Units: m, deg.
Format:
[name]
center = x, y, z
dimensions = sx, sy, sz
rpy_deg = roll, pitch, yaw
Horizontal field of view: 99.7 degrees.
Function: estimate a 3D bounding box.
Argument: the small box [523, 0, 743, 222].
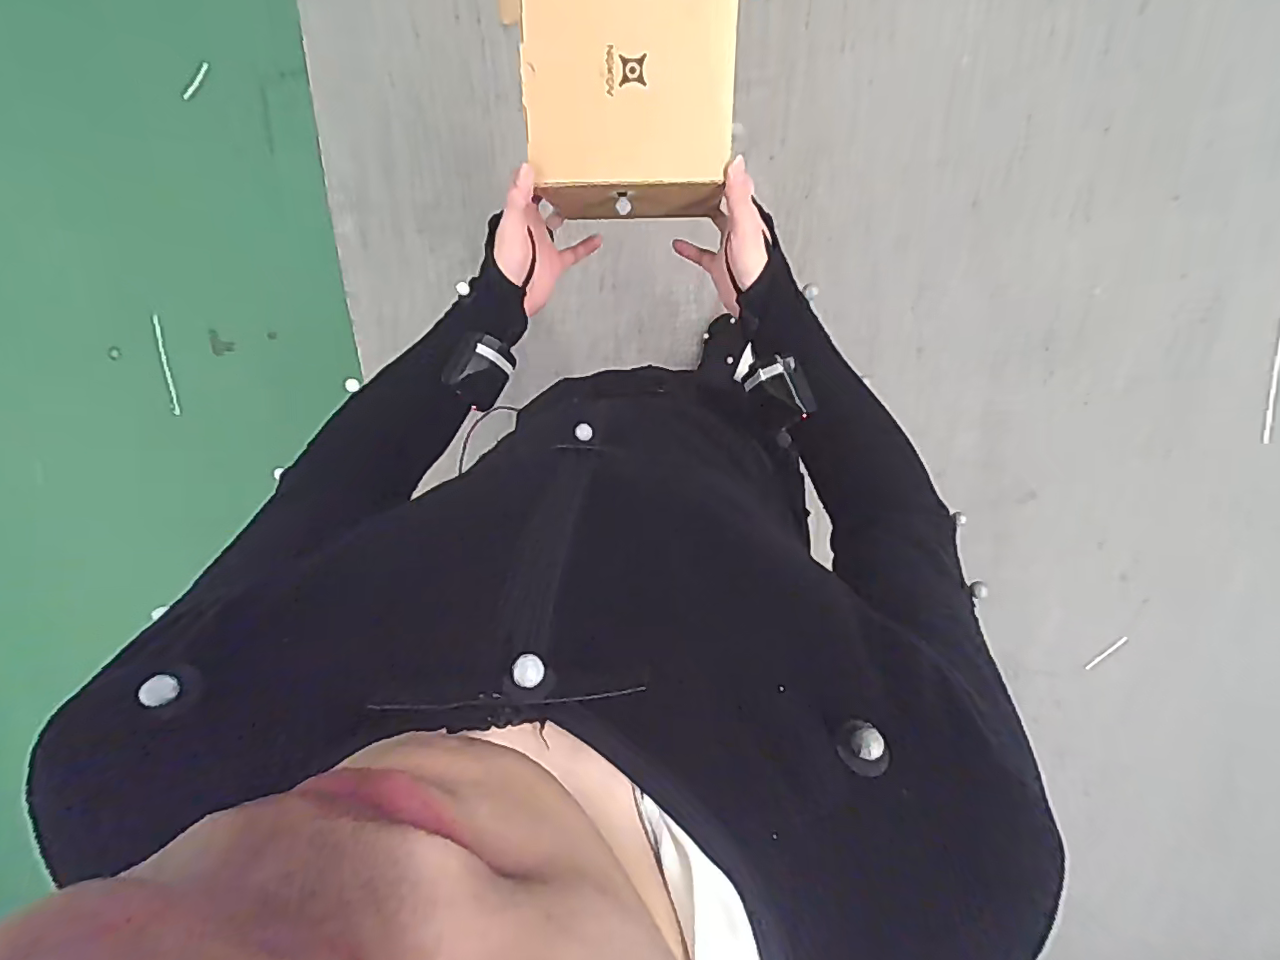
[small box]
center = -0.002, -0.351, 0.517
dimensions = 0.179, 0.176, 0.168
rpy_deg = 1, 106, 4
